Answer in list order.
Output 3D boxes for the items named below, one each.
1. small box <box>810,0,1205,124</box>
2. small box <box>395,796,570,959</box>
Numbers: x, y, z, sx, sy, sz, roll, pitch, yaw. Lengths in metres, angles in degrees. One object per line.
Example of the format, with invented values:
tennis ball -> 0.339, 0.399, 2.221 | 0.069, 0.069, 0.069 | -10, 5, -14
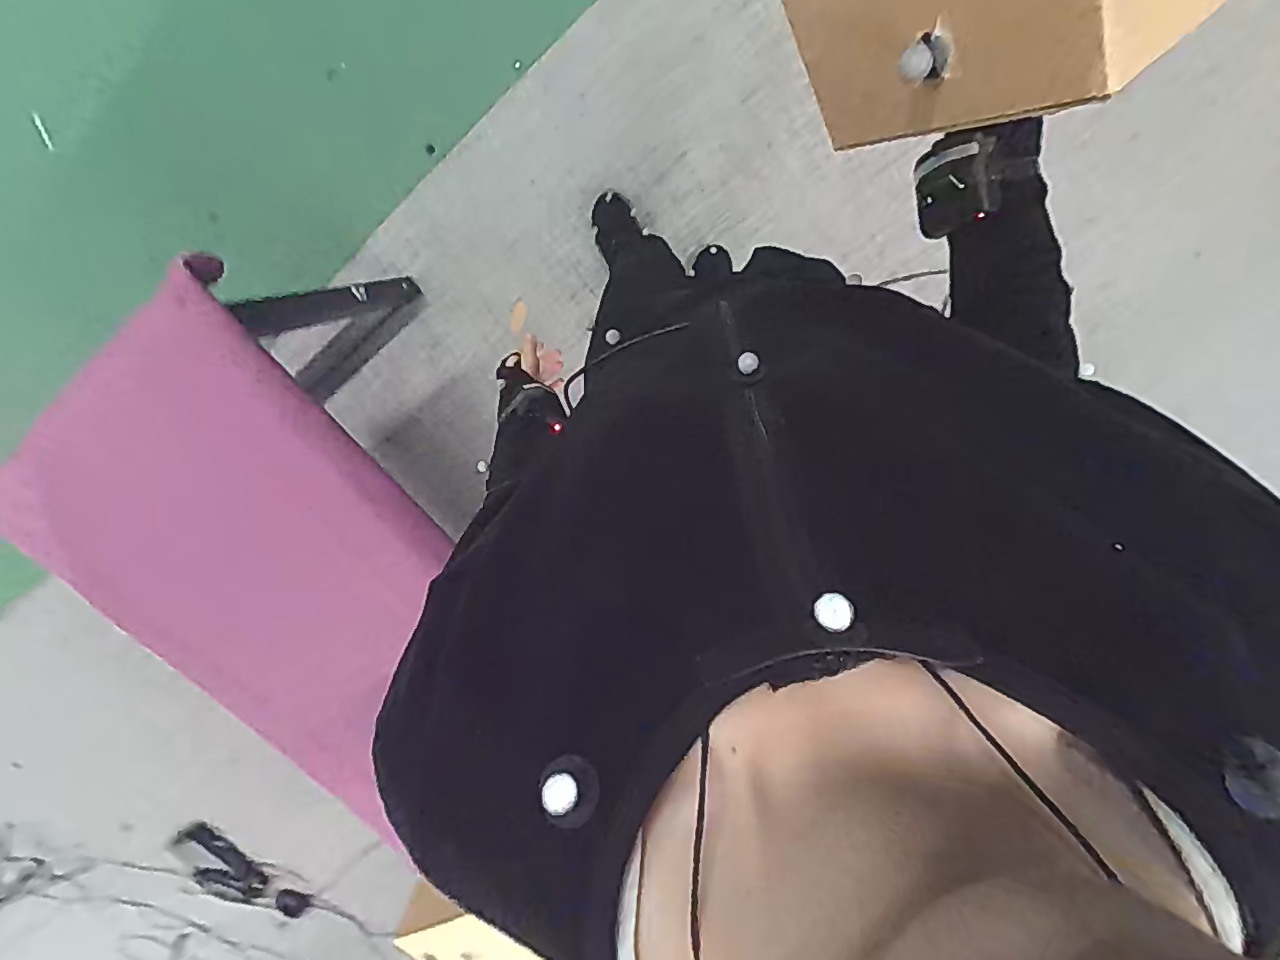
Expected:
small box -> 0.184, -0.303, 0.242 | 0.168, 0.179, 0.176 | -38, 122, -2
small box -> -0.224, 0.626, 0.829 | 0.179, 0.176, 0.168 | -33, 107, 18
